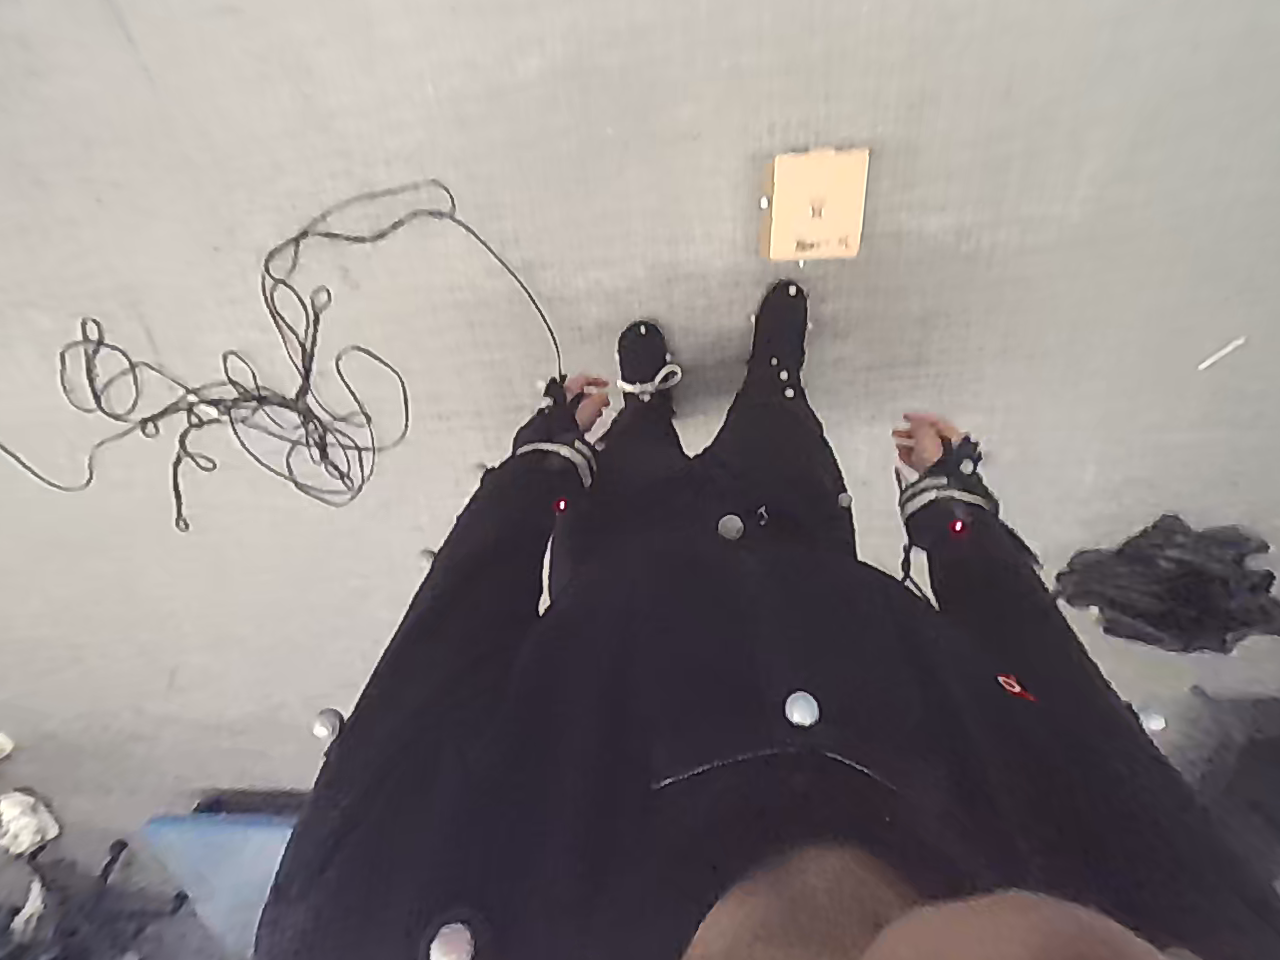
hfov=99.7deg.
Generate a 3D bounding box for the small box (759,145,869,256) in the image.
[{"bbox_3d":[0.326,-0.533,1.051,0.168,0.176,0.179,-1,113,4],"label":"small box"}]
